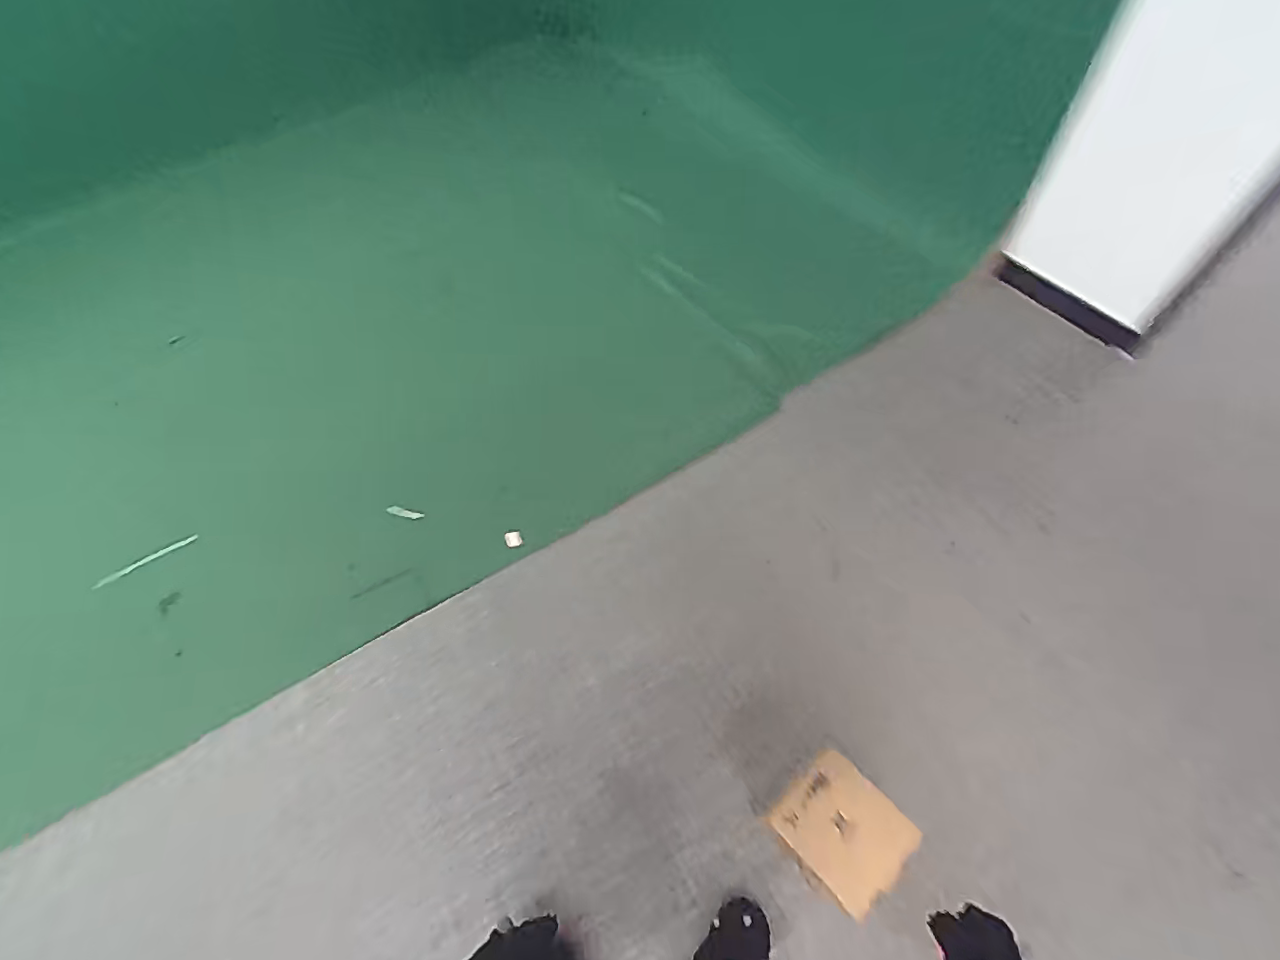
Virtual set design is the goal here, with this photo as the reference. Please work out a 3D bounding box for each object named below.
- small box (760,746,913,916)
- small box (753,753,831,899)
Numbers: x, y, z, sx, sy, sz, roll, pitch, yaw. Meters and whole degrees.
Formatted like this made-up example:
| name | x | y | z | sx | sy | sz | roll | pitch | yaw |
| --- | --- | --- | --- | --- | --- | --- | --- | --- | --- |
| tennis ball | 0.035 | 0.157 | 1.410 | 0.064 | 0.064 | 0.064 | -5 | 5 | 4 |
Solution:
| name | x | y | z | sx | sy | sz | roll | pitch | yaw |
| --- | --- | --- | --- | --- | --- | --- | --- | --- | --- |
| small box | 0.327 | 0.592 | 0.934 | 0.168 | 0.176 | 0.179 | -42 | 61 | -15 |
| small box | 0.344 | 0.675 | 1.072 | 0.168 | 0.176 | 0.179 | -39 | 60 | -16 |
